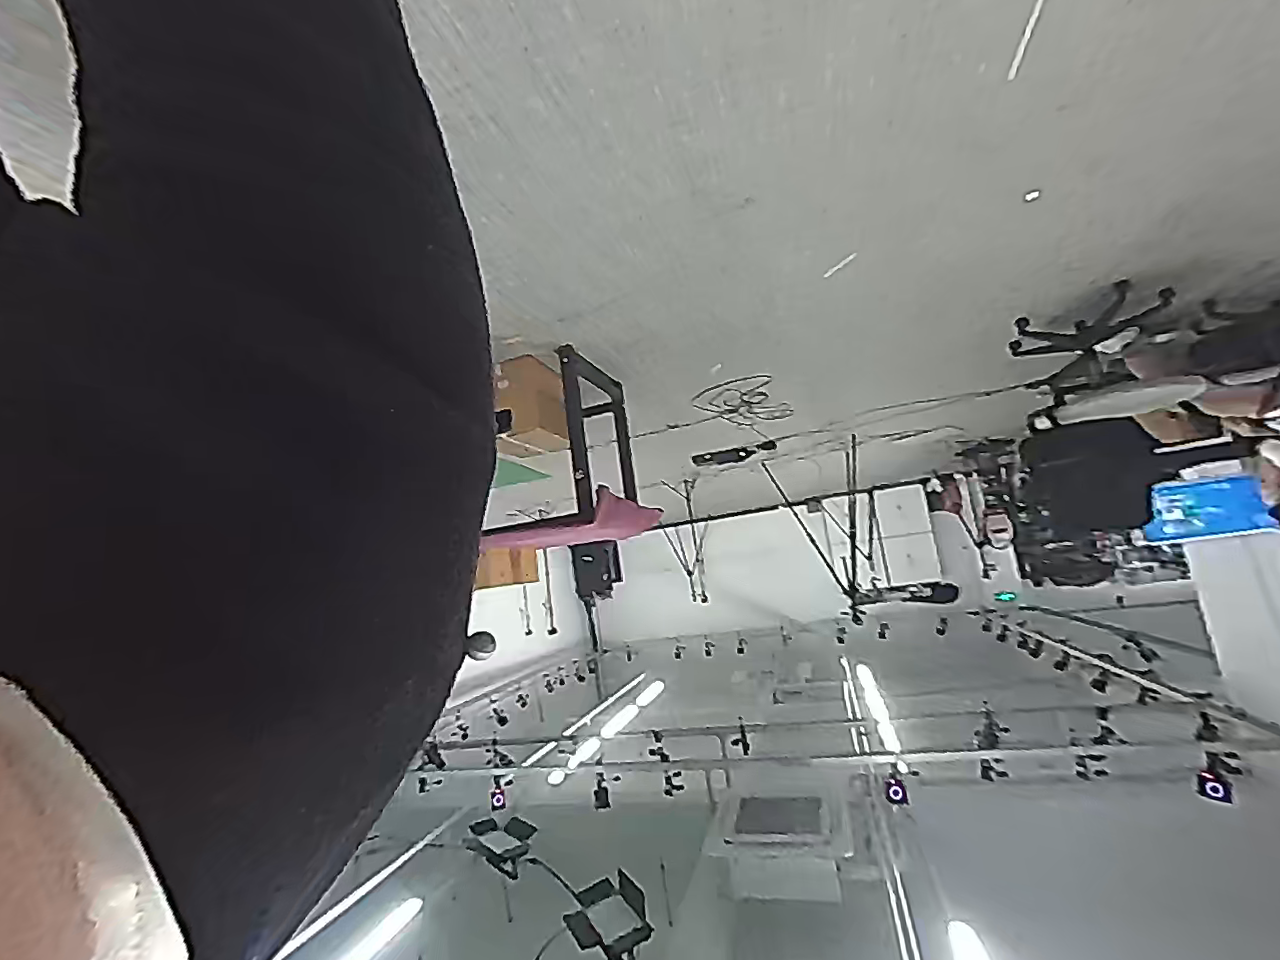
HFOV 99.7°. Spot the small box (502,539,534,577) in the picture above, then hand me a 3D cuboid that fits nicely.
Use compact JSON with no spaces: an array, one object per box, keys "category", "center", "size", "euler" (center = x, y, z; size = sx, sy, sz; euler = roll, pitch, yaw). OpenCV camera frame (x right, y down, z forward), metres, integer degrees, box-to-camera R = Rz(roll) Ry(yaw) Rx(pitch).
[{"category":"small box","center":[-0.613,0.369,2.542],"size":[0.168,0.176,0.179],"euler":[-9,170,14]}]

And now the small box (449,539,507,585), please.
[{"category":"small box","center":[-0.680,0.341,2.276],"size":[0.168,0.176,0.179],"euler":[-11,172,14]}]

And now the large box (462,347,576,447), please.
[{"category":"large box","center":[-0.516,-0.346,2.350],"size":[0.320,0.320,0.408],"euler":[-9,173,16]}]
